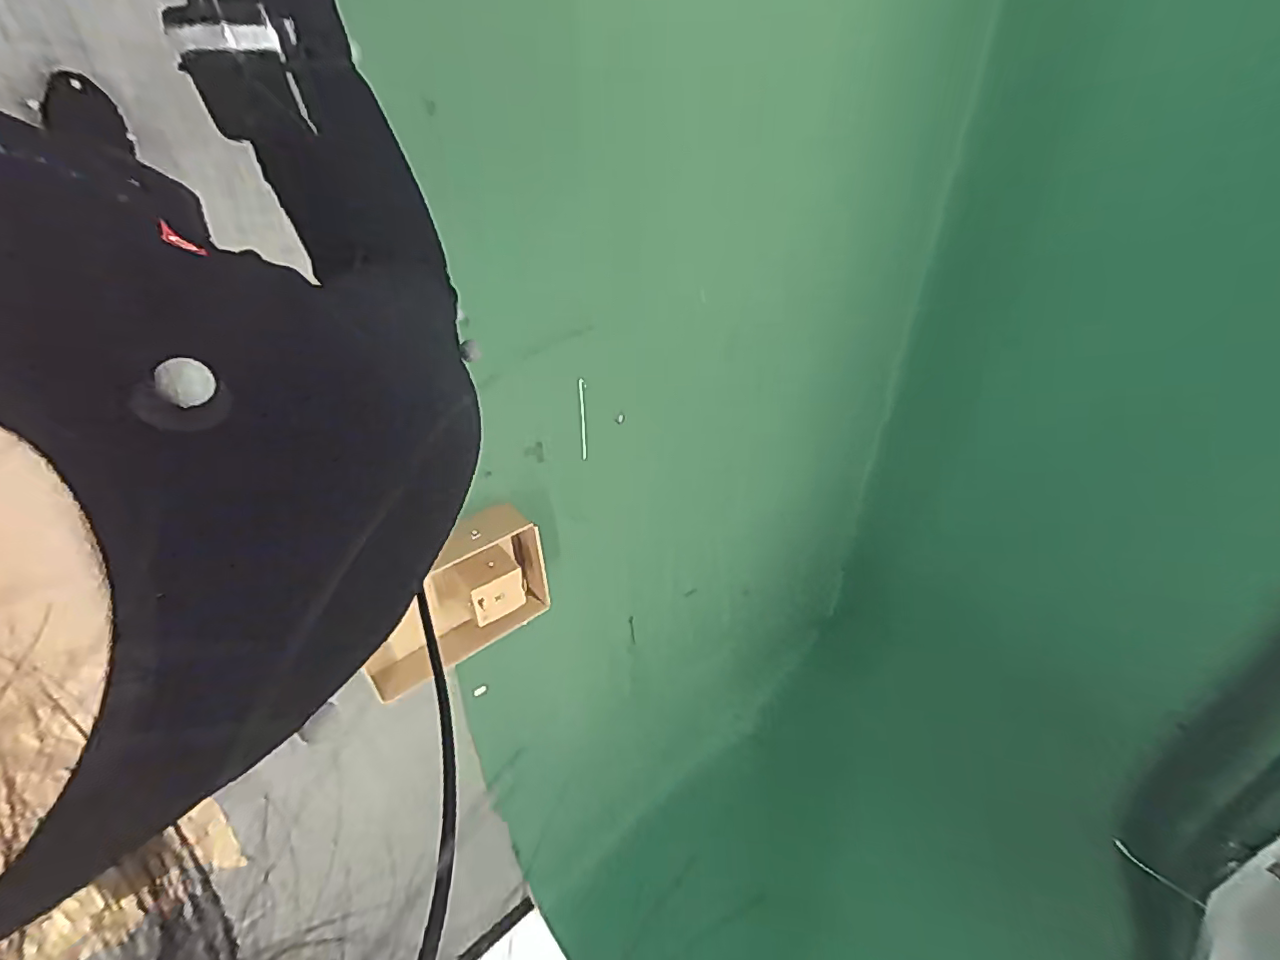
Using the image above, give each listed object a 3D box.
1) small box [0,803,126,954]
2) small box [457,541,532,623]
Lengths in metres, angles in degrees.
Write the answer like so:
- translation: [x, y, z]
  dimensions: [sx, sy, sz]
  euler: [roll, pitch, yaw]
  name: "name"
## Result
- translation: [-1.249, 0.840, 1.156]
  dimensions: [0.168, 0.176, 0.179]
  euler: [-28, 131, -34]
  name: "small box"
- translation: [-0.485, 0.333, 1.803]
  dimensions: [0.179, 0.176, 0.168]
  euler: [-25, 131, -32]
  name: "small box"
